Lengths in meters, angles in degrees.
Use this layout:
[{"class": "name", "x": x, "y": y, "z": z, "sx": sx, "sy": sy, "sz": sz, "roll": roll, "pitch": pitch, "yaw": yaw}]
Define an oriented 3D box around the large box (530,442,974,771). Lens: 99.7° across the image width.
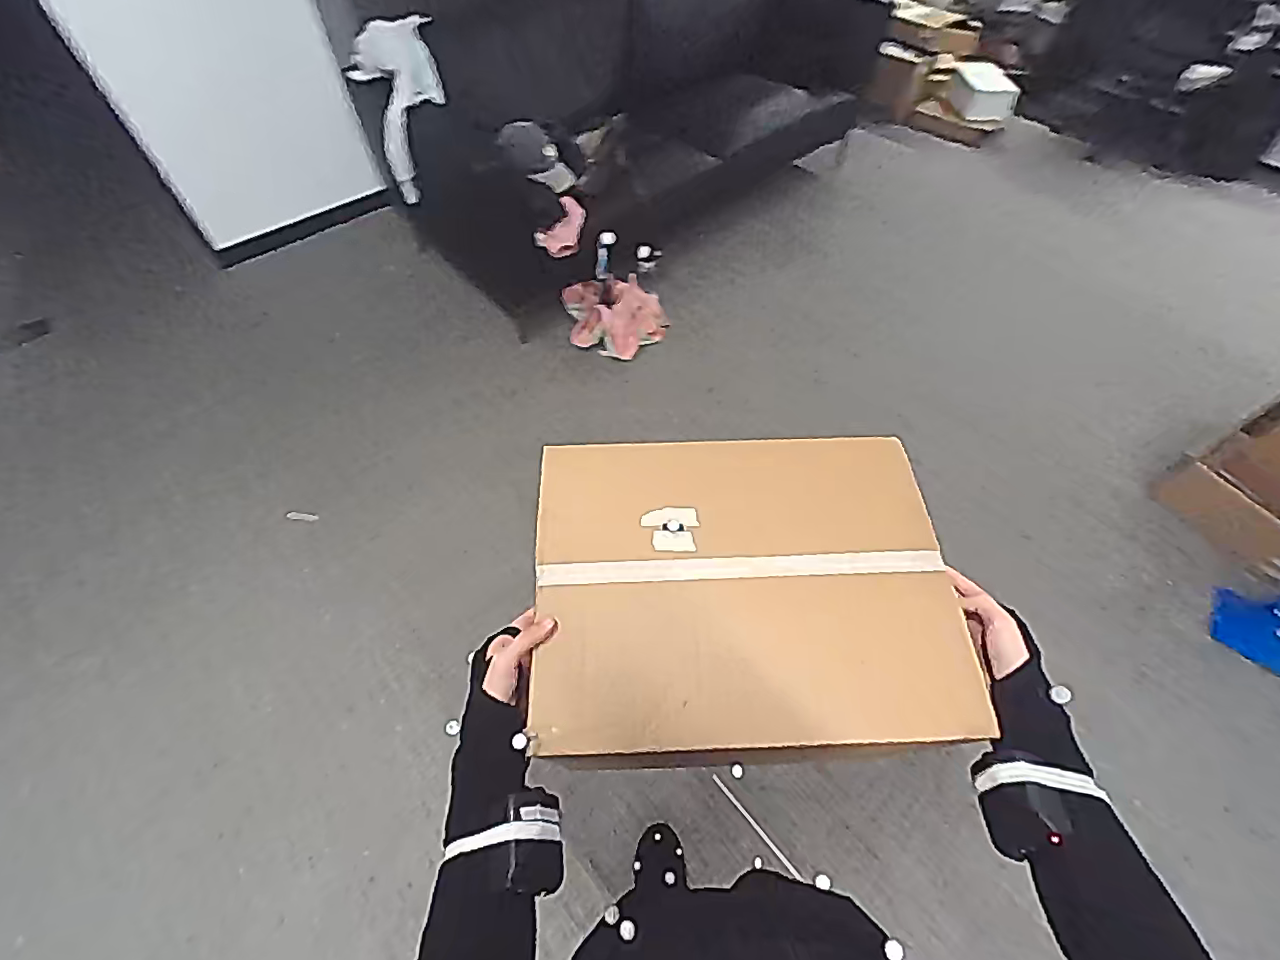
[{"class": "large box", "x": 0.096, "y": 0.174, "z": 0.678, "sx": 0.408, "sy": 0.320, "sz": 0.320, "roll": -3, "pitch": 59, "yaw": -1}]
